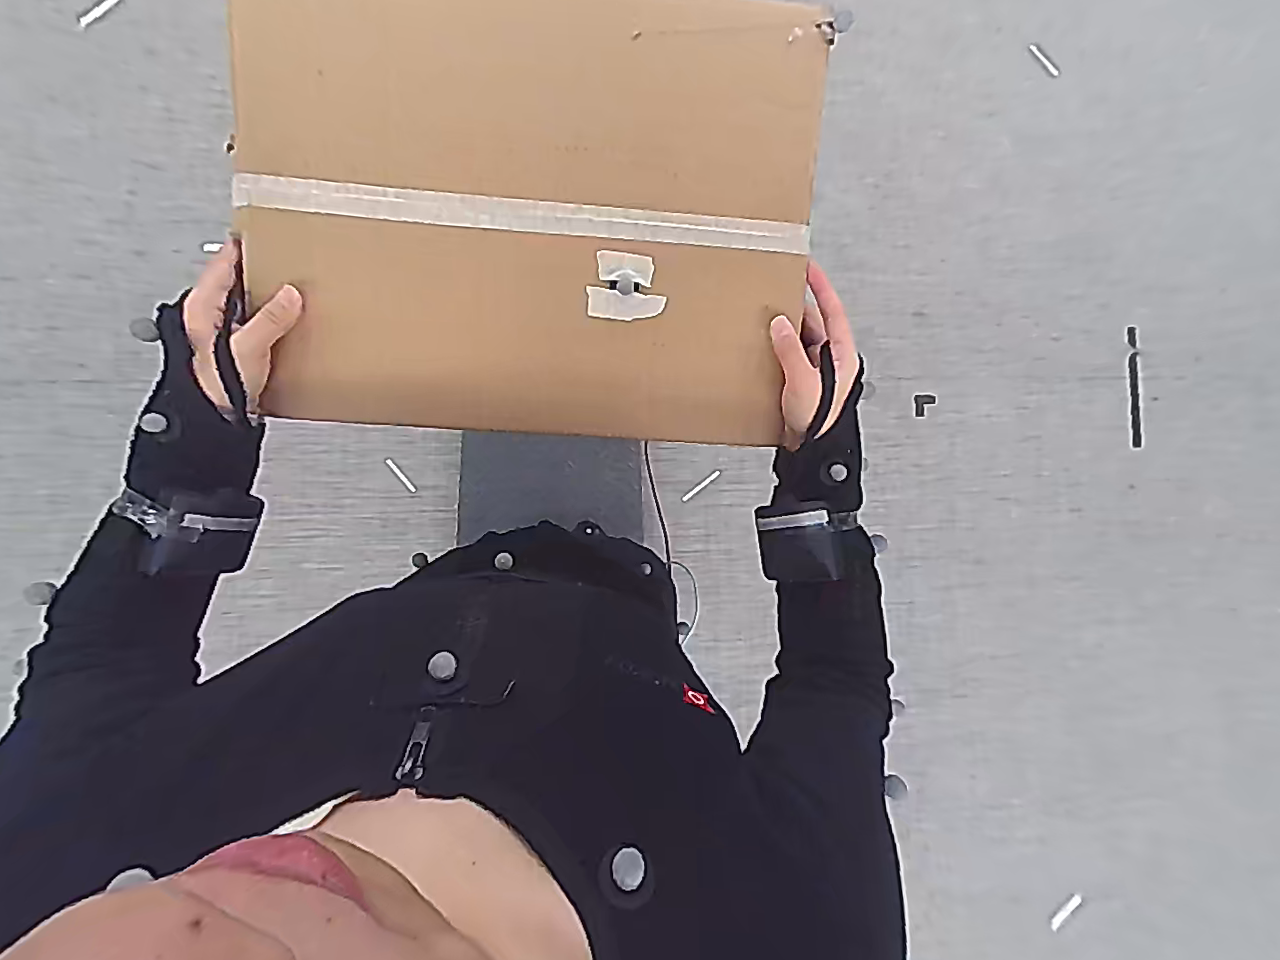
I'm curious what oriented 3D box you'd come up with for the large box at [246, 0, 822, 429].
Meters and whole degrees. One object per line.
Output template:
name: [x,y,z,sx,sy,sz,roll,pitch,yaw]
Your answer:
large box: [-0.087,-0.224,0.543,0.408,0.320,0.320,3,101,-6]
